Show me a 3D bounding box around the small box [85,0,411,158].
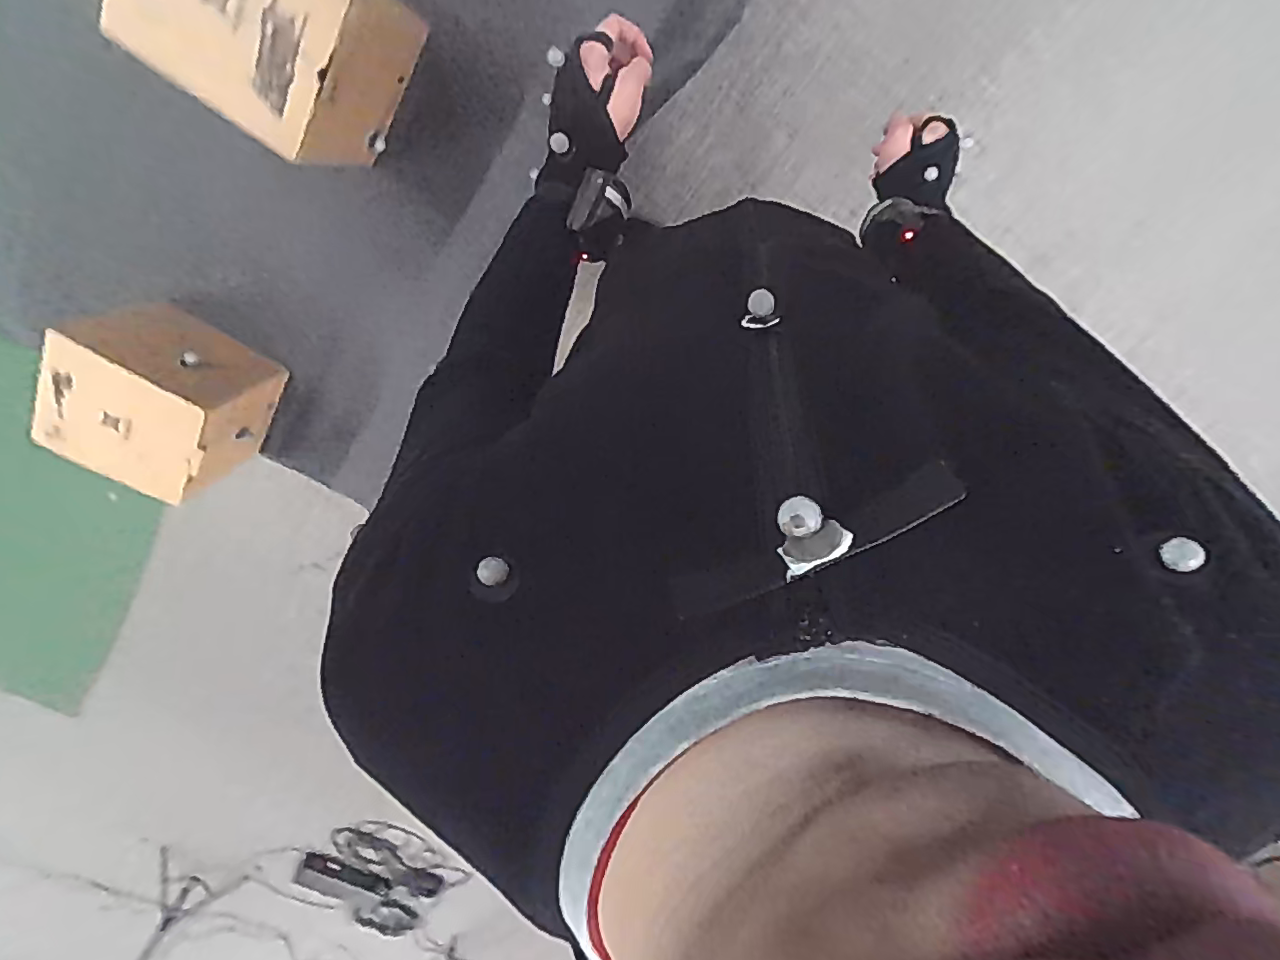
[{"bbox_3d":[-0.353,-0.444,0.518,0.179,0.176,0.168,33,115,-16],"label":"small box"}]

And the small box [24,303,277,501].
[{"bbox_3d":[-0.627,-0.110,0.713,0.179,0.176,0.168,31,114,-17],"label":"small box"}]
